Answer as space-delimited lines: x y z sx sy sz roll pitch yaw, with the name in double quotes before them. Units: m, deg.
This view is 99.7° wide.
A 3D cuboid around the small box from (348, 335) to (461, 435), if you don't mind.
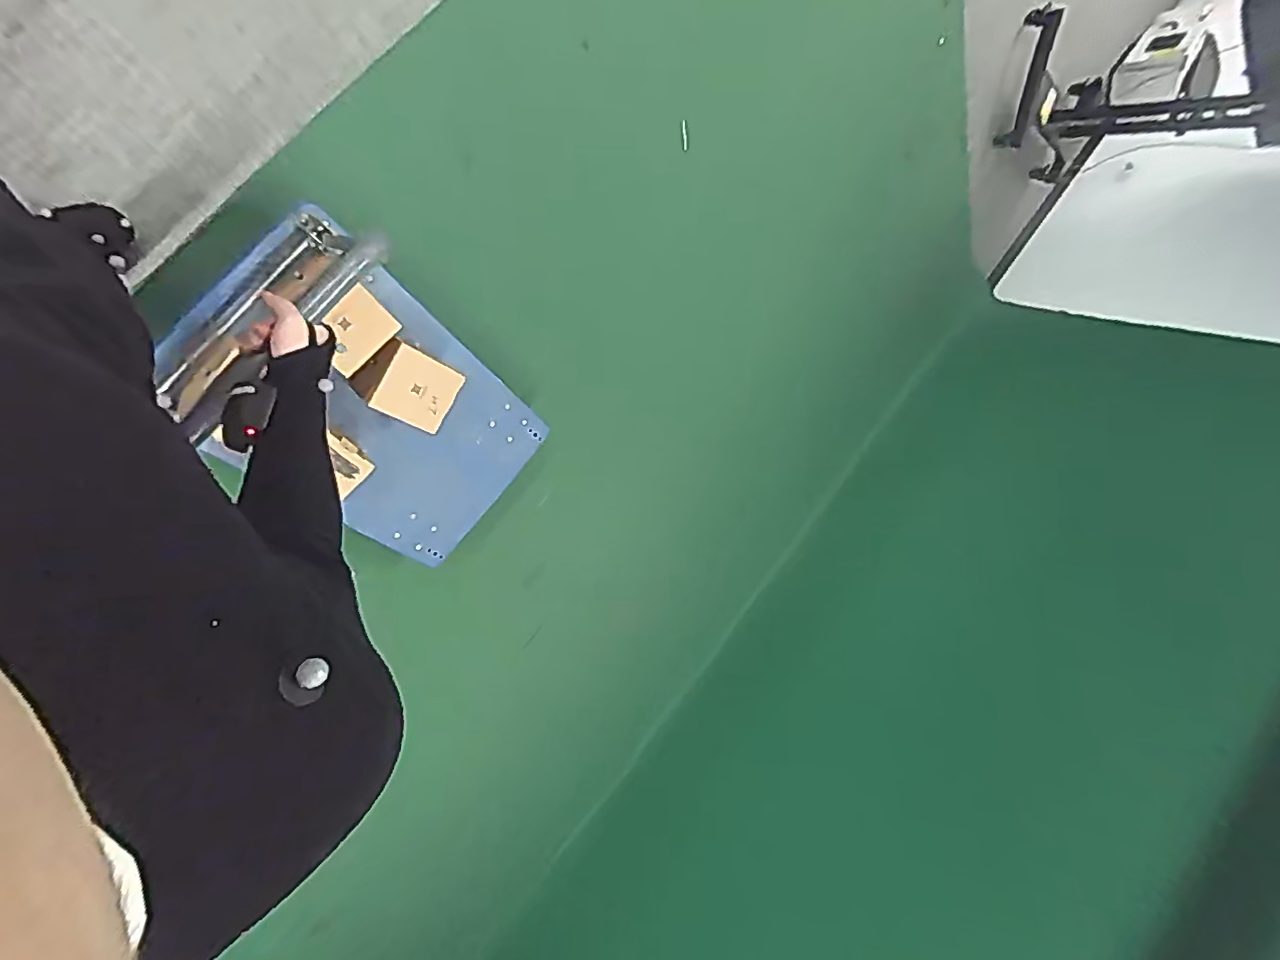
"small box" -0.580 -0.237 1.322 0.179 0.176 0.168 29 92 -48
